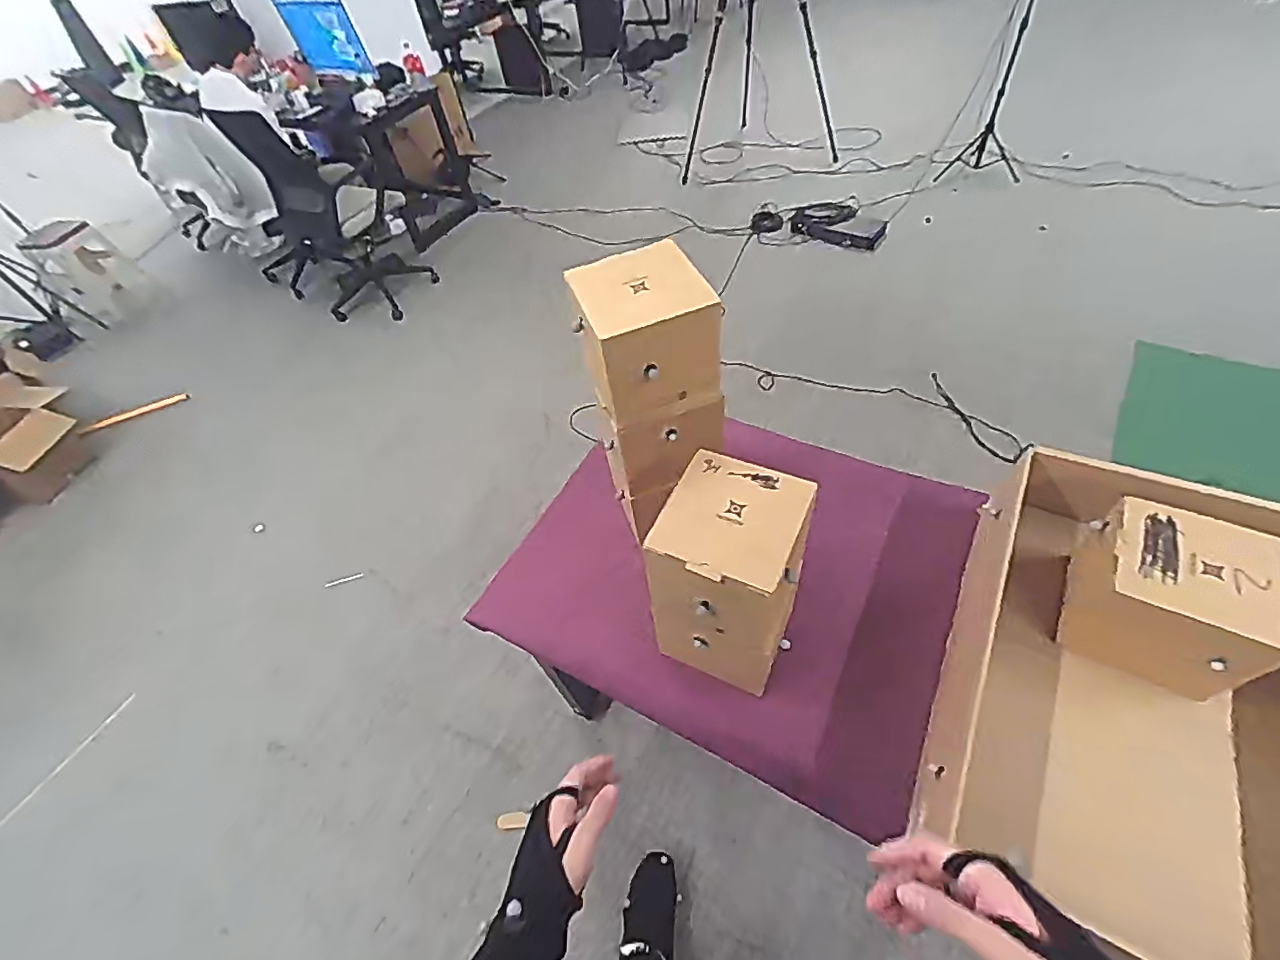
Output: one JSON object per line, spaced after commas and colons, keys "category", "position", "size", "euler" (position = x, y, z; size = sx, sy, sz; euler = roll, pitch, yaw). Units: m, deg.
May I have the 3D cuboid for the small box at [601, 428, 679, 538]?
{"category": "small box", "position": [0.036, -0.008, 1.031], "size": [0.168, 0.176, 0.179], "euler": [-18, 52, -7]}

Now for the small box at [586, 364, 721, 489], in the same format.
{"category": "small box", "position": [0.026, -0.109, 0.904], "size": [0.179, 0.176, 0.168], "euler": [-18, 53, -7]}

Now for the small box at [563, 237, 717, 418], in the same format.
{"category": "small box", "position": [0.005, -0.211, 0.780], "size": [0.168, 0.176, 0.179], "euler": [-20, 53, -7]}

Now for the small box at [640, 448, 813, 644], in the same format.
{"category": "small box", "position": [0.118, 0.091, 0.729], "size": [0.168, 0.176, 0.179], "euler": [20, 56, 21]}

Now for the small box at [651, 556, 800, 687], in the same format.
{"category": "small box", "position": [0.134, 0.199, 0.852], "size": [0.179, 0.176, 0.168], "euler": [19, 56, 20]}
